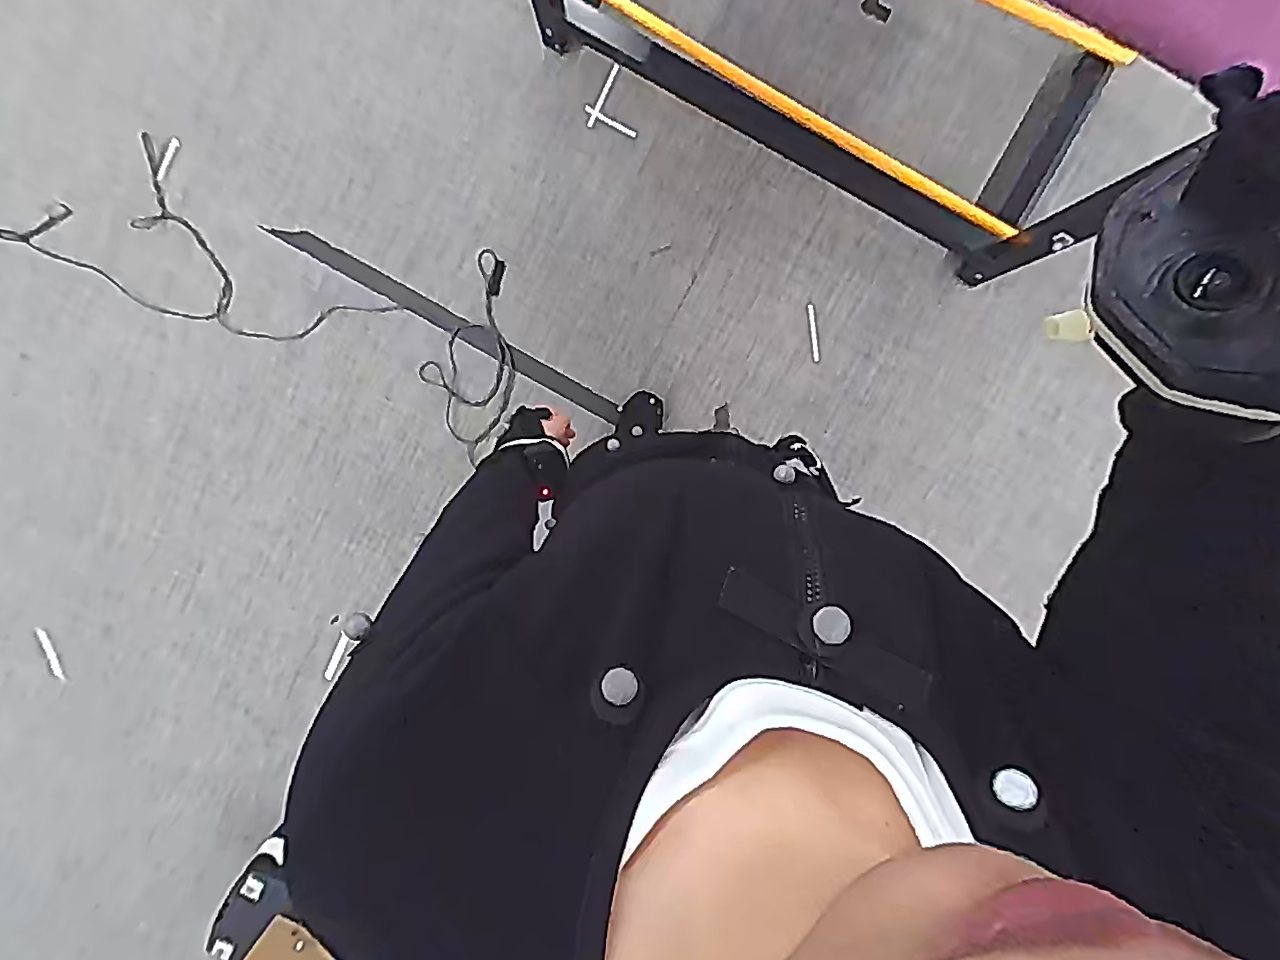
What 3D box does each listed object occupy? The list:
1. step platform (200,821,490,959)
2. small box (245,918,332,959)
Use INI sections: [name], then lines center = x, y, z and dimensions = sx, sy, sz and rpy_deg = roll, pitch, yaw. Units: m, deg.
[step platform]
center = -0.766, 1.219, 1.433
dimensions = 0.684, 0.204, 0.286
rpy_deg = 28, 96, -3
[small box]
center = -0.860, 1.186, 1.256
dimensions = 0.168, 0.176, 0.179
rpy_deg = 31, 95, -3
